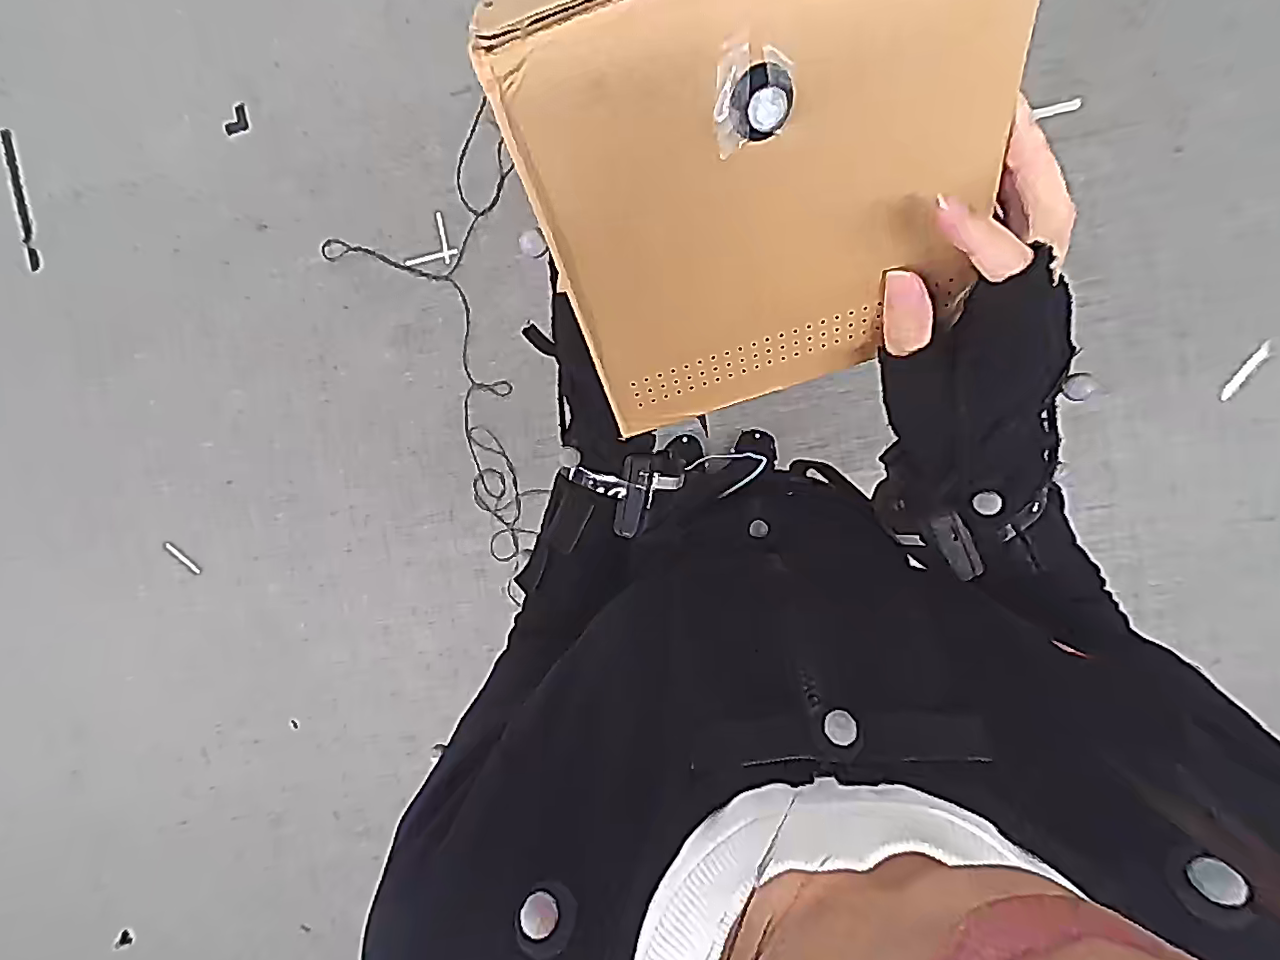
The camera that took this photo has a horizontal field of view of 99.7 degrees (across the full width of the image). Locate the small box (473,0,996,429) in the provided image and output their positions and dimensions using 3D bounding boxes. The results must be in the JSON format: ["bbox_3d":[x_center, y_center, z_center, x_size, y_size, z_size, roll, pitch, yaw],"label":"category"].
[{"bbox_3d":[0.041,-0.151,0.267,0.179,0.168,0.176,-17,137,5],"label":"small box"}]
